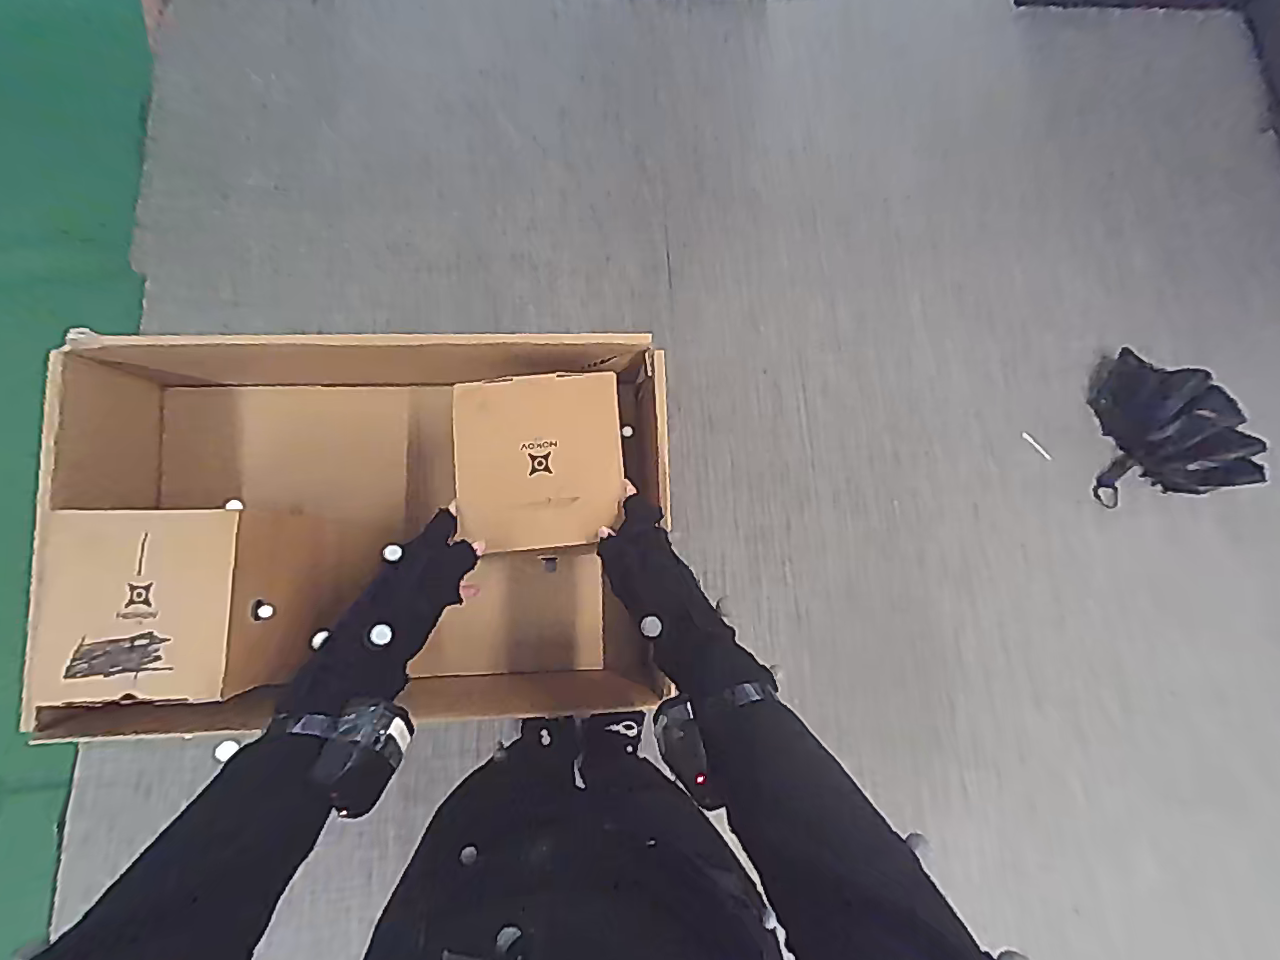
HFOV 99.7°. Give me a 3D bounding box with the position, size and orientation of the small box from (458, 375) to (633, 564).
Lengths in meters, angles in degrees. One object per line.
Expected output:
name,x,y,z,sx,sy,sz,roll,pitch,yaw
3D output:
small box,-0.100,-0.003,0.615,0.168,0.176,0.179,-6,80,-3
